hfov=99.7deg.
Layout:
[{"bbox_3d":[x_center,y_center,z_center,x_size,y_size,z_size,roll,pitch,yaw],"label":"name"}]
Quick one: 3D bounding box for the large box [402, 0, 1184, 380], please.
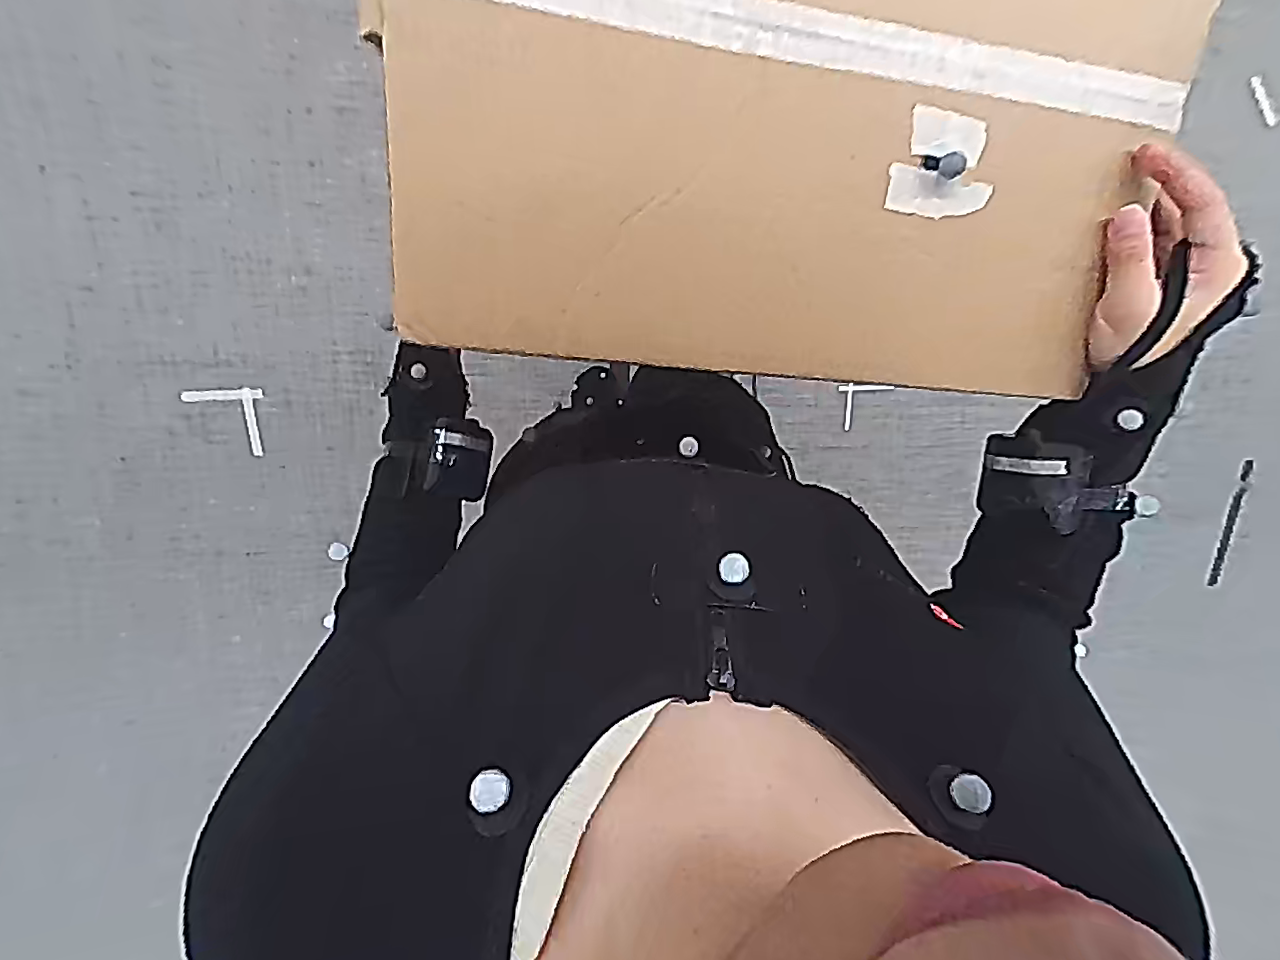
[{"bbox_3d":[0.062,-0.258,0.408,0.408,0.320,0.320,2,108,-11],"label":"large box"}]
